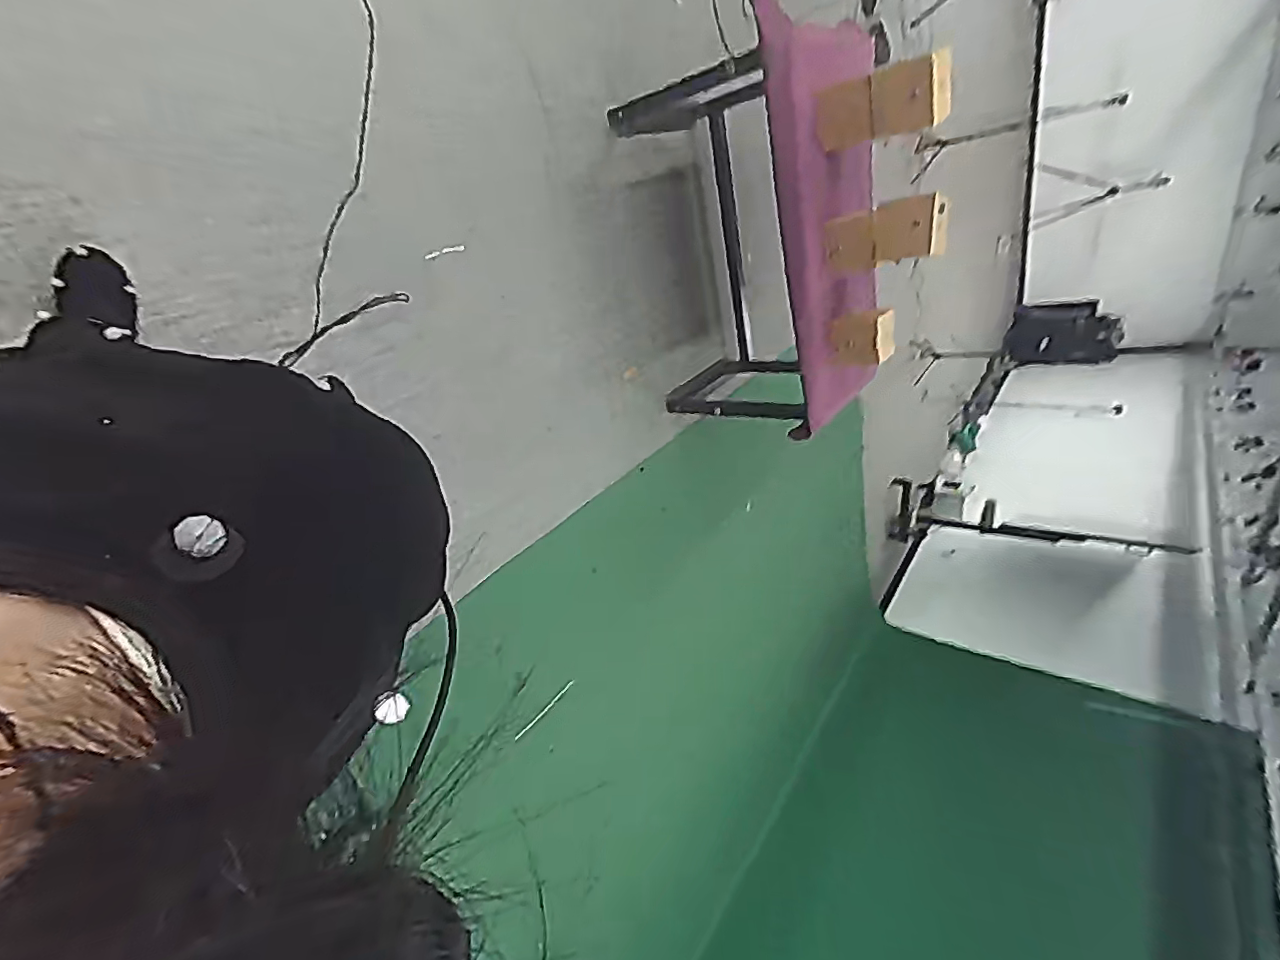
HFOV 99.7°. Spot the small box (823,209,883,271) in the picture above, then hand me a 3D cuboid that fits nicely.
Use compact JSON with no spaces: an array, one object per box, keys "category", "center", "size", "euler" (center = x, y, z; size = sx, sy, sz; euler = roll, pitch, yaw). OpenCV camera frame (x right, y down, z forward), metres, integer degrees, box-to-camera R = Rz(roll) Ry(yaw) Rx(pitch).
[{"category":"small box","center":[0.734,-0.813,1.824],"size":[0.179,0.176,0.168],"euler":[-35,122,-40]}]

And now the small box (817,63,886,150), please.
[{"category":"small box","center":[0.659,-1.149,1.668],"size":[0.168,0.176,0.179],"euler":[-41,127,-36]}]

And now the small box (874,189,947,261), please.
[{"category":"small box","center":[0.854,-0.799,1.711],"size":[0.168,0.176,0.179],"euler":[-23,115,-45]}]

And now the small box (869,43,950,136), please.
[{"category":"small box","center":[0.779,-1.120,1.563],"size":[0.168,0.176,0.179],"euler":[-43,127,-34]}]

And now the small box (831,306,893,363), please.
[{"category":"small box","center":[0.802,-0.525,1.962],"size":[0.179,0.176,0.168],"euler":[-33,121,-41]}]
